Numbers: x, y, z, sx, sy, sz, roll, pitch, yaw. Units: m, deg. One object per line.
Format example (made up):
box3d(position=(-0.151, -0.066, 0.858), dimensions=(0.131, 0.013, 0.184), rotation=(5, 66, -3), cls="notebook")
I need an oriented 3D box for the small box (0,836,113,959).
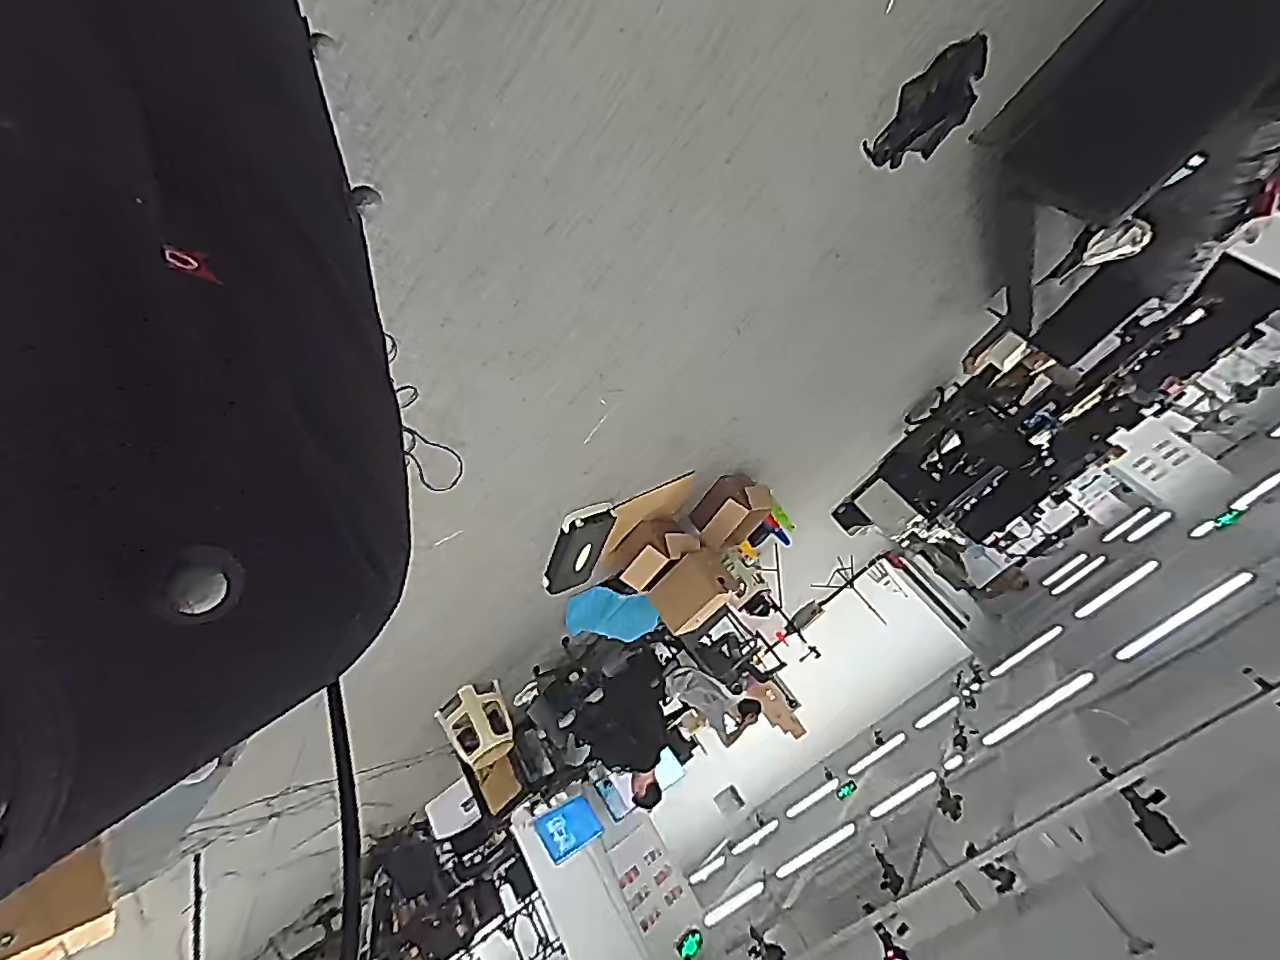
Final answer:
box3d(position=(-1.135, 0.824, 1.028), dimensions=(0.179, 0.176, 0.168), rotation=(-4, 138, -47), cls="small box")
